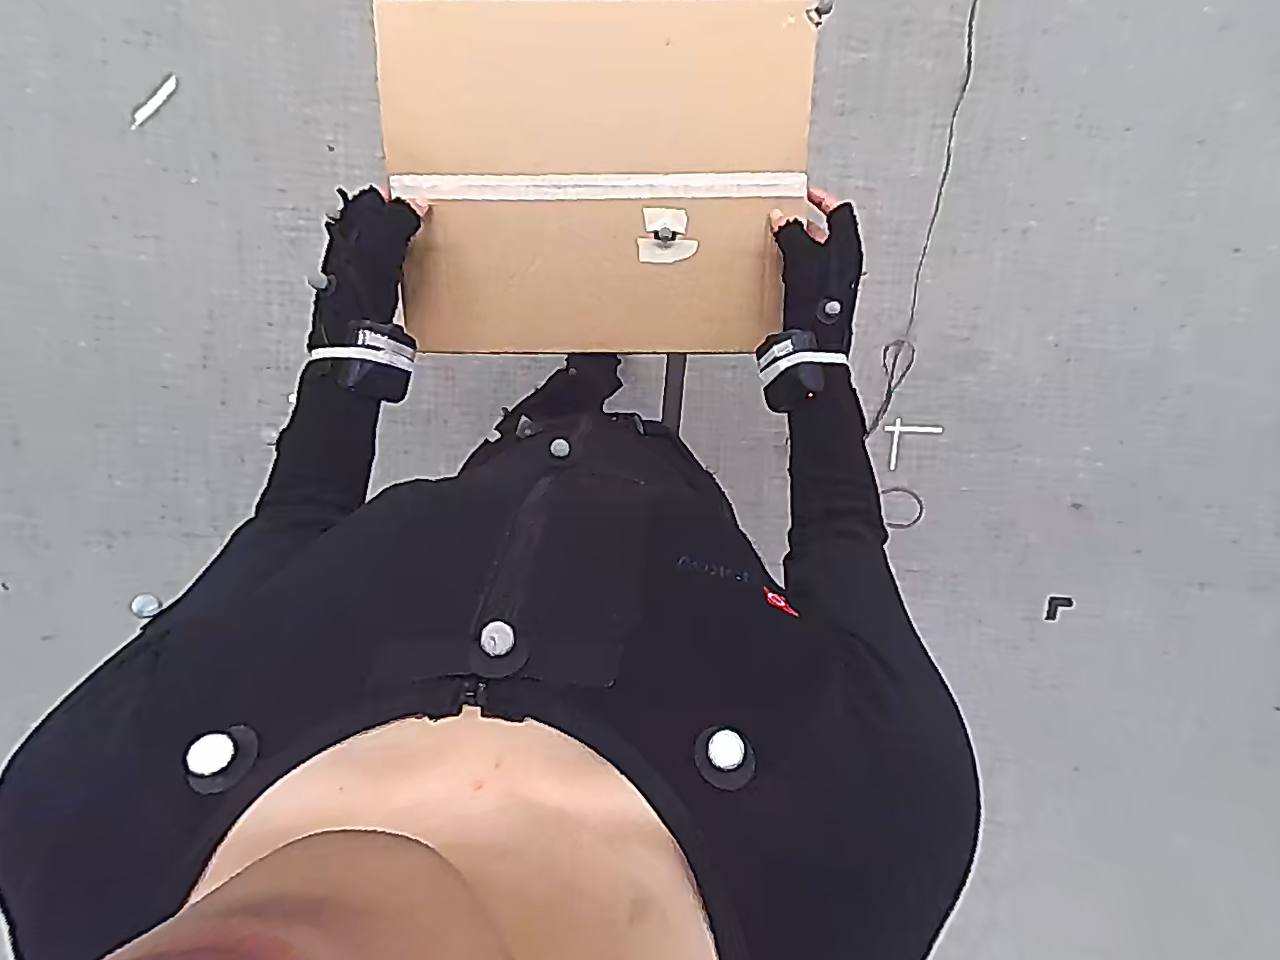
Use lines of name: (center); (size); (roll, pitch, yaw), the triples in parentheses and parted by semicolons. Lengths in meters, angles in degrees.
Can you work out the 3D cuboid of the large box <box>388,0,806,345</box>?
large box: (-0.041, -0.337, 0.686); (0.408, 0.320, 0.320); (0, 104, 0)
